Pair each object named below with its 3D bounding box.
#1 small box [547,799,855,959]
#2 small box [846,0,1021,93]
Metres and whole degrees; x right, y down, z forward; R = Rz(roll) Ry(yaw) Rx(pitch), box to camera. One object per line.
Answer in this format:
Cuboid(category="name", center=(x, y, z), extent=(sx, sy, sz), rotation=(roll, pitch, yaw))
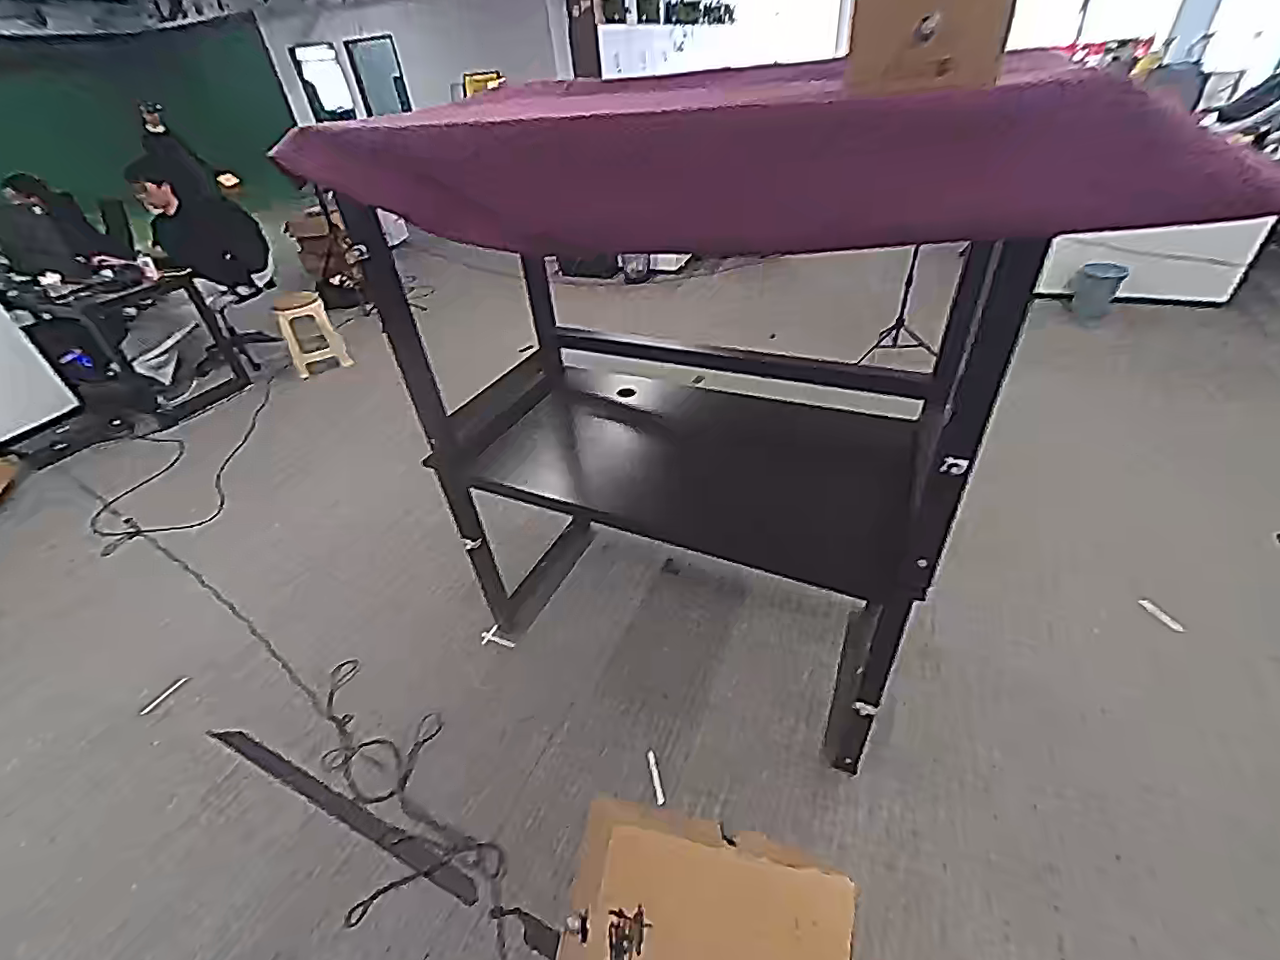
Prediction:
Cuboid(category="small box", center=(0.032, 0.350, 0.399), extent=(0.179, 0.176, 0.168), rotation=(16, 63, -4))
Cuboid(category="small box", center=(0.343, -0.558, 0.627), extent=(0.168, 0.176, 0.179), rotation=(10, 40, 21))
